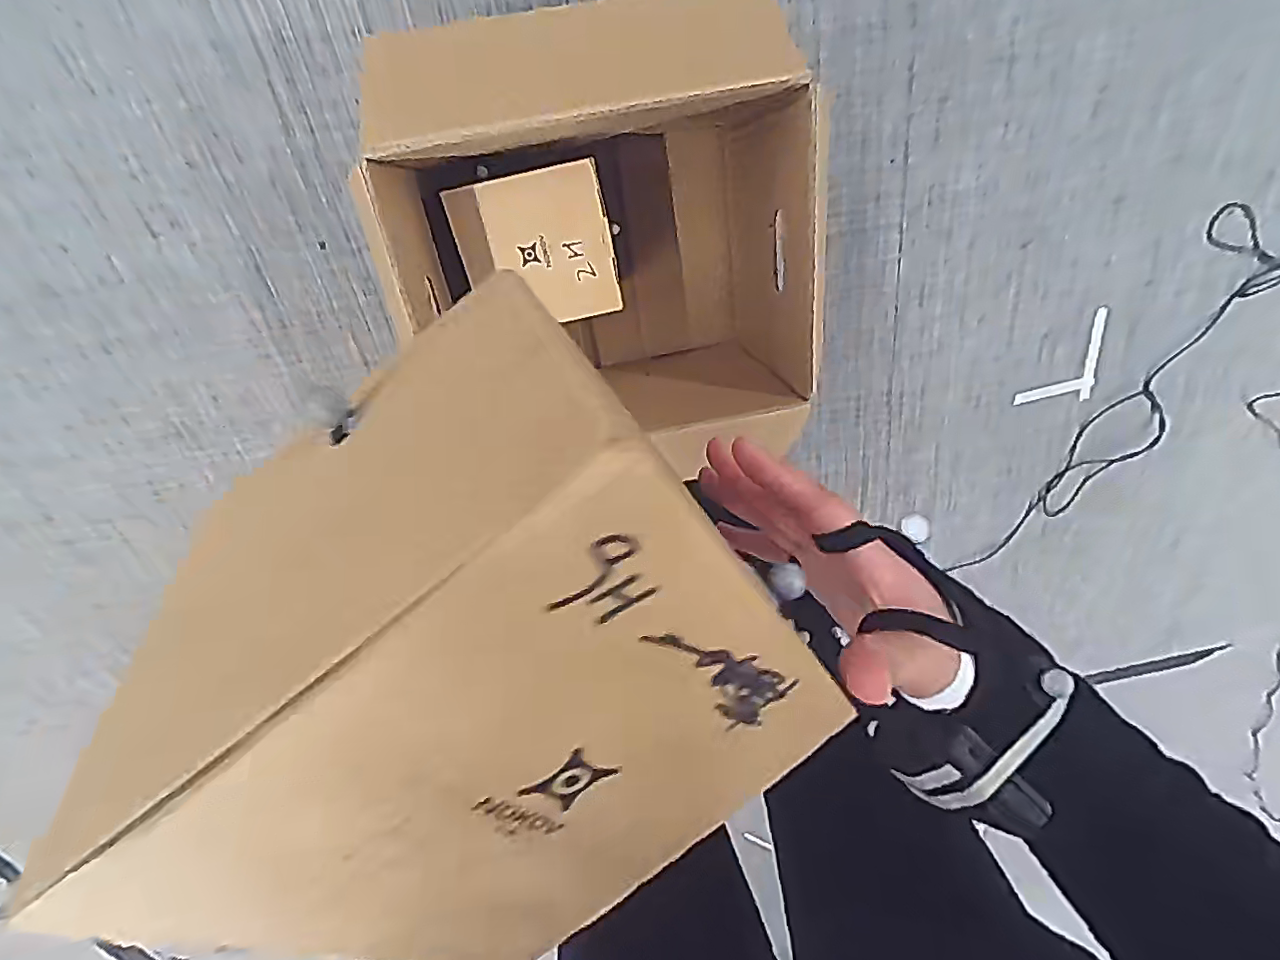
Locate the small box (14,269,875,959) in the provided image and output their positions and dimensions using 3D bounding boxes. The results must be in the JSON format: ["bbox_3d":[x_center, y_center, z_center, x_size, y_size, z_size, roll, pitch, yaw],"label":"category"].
[{"bbox_3d":[-0.048,0.046,0.218,0.179,0.176,0.168,-37,128,3],"label":"small box"}]
